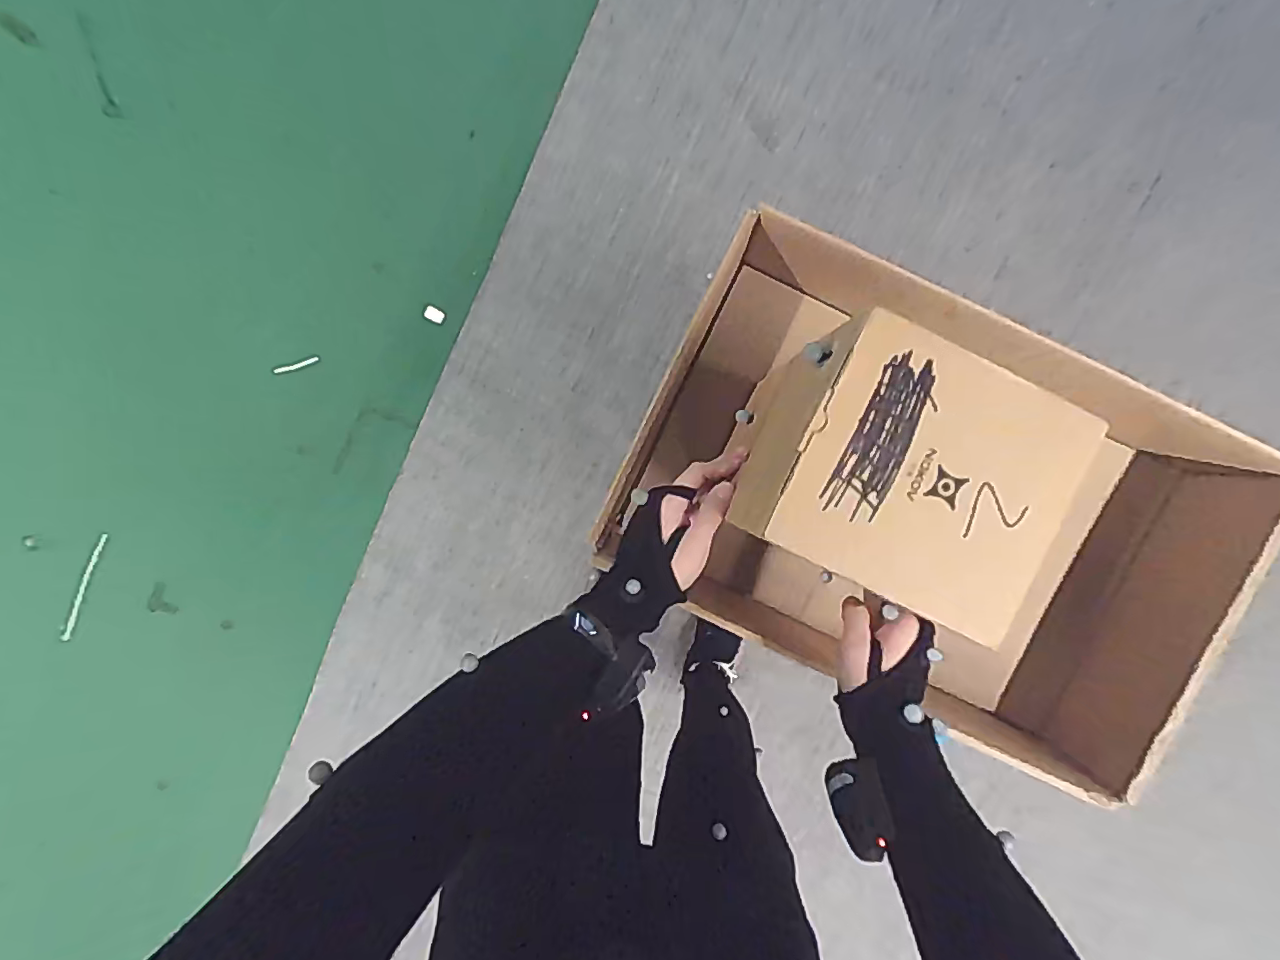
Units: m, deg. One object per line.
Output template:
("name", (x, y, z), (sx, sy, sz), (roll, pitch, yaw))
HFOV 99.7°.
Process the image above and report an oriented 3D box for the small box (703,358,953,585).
("small box", (0.184, -0.009, 0.591), (0.179, 0.176, 0.168), (26, 92, -2))
